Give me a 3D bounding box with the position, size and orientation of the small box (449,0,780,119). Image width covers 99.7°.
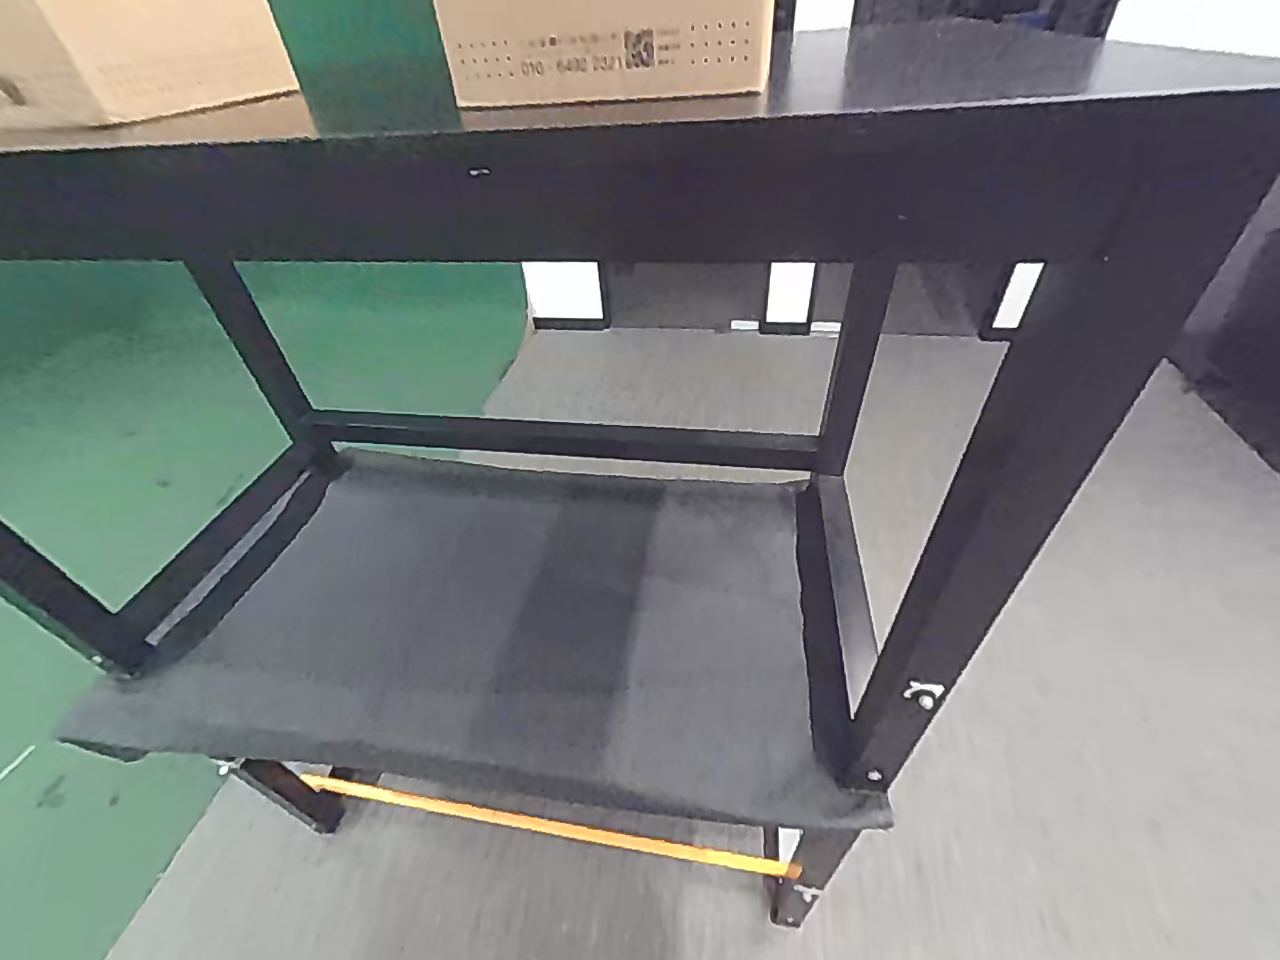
[{"bbox_3d":[-0.006,-0.307,0.295,0.168,0.176,0.179,5,42,10],"label":"small box"}]
